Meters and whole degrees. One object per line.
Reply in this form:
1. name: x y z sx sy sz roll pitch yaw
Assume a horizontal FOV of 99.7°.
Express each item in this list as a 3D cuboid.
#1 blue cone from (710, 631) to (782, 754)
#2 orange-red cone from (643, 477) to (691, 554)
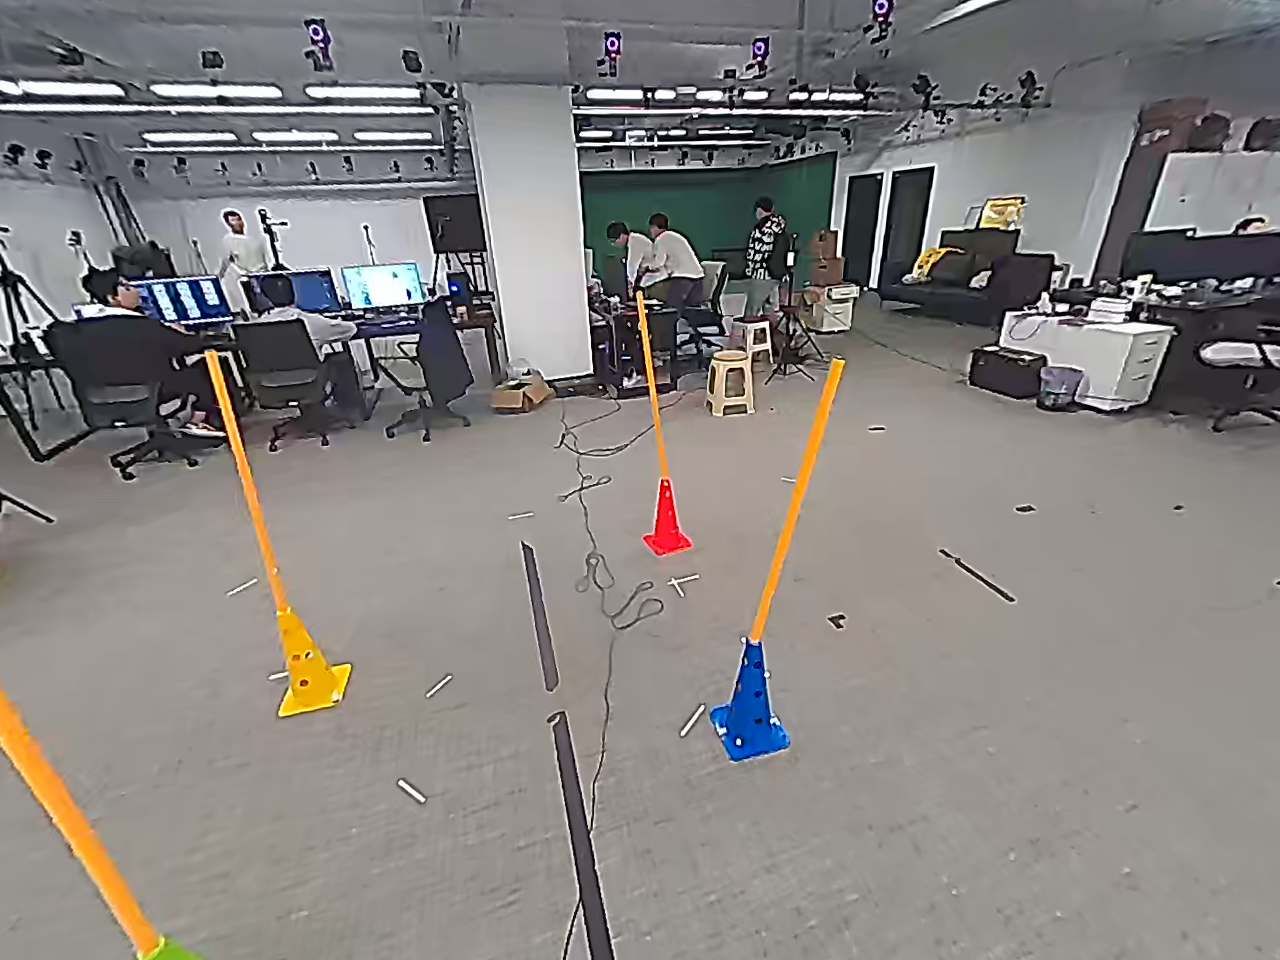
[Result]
1. blue cone: 0.327 0.624 1.636 0.193 0.380 0.192 -8 25 -11
2. orange-red cone: 0.124 0.153 2.622 0.199 0.360 0.198 -13 27 -18
